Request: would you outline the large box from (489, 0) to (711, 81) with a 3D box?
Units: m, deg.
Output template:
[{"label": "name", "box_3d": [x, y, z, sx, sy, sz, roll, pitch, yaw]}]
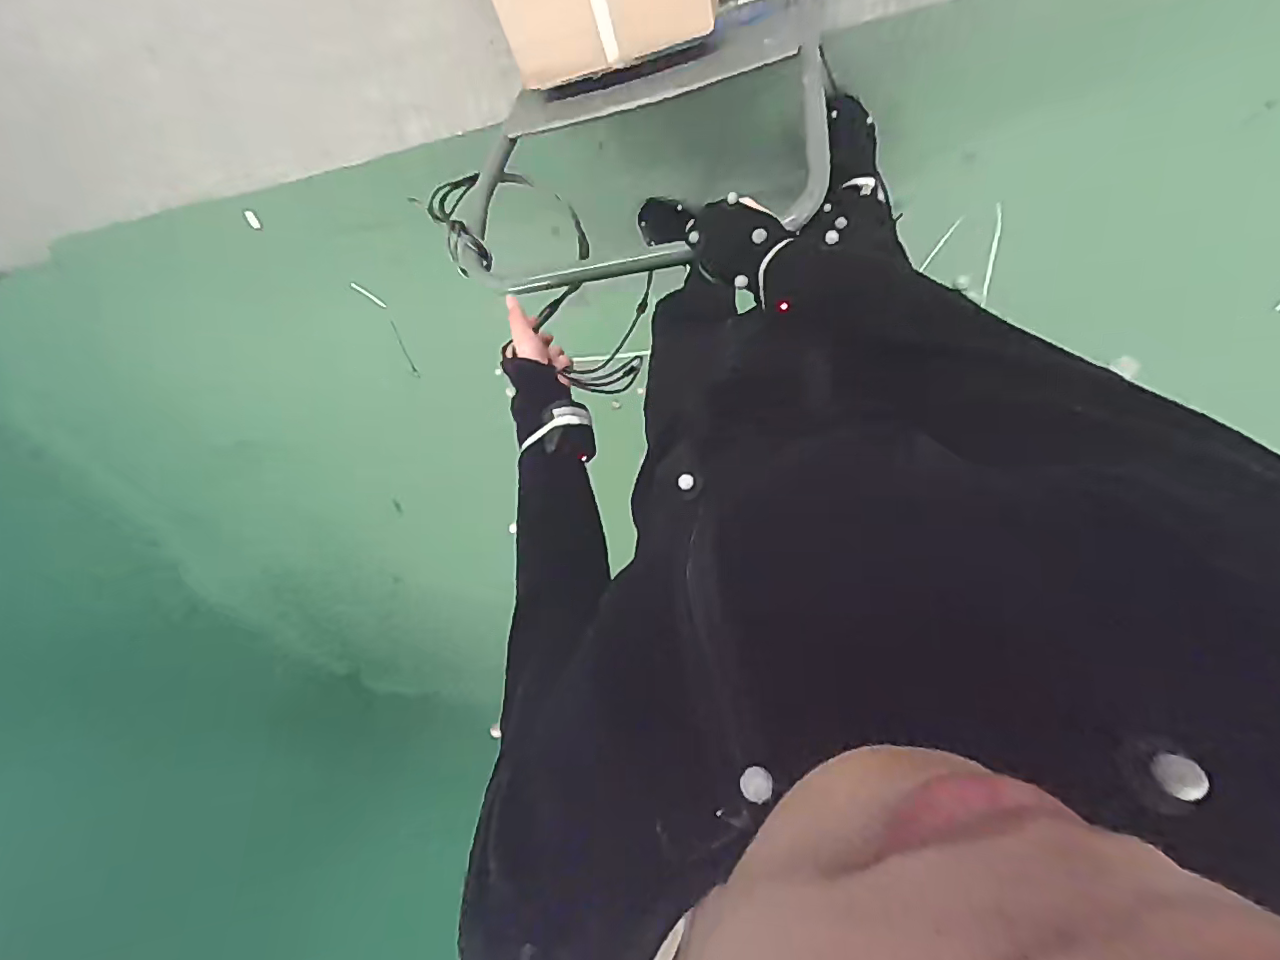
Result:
[{"label": "large box", "box_3d": [-0.081, -0.885, 0.759, 0.320, 0.320, 0.408, -3, 145, 18]}]
